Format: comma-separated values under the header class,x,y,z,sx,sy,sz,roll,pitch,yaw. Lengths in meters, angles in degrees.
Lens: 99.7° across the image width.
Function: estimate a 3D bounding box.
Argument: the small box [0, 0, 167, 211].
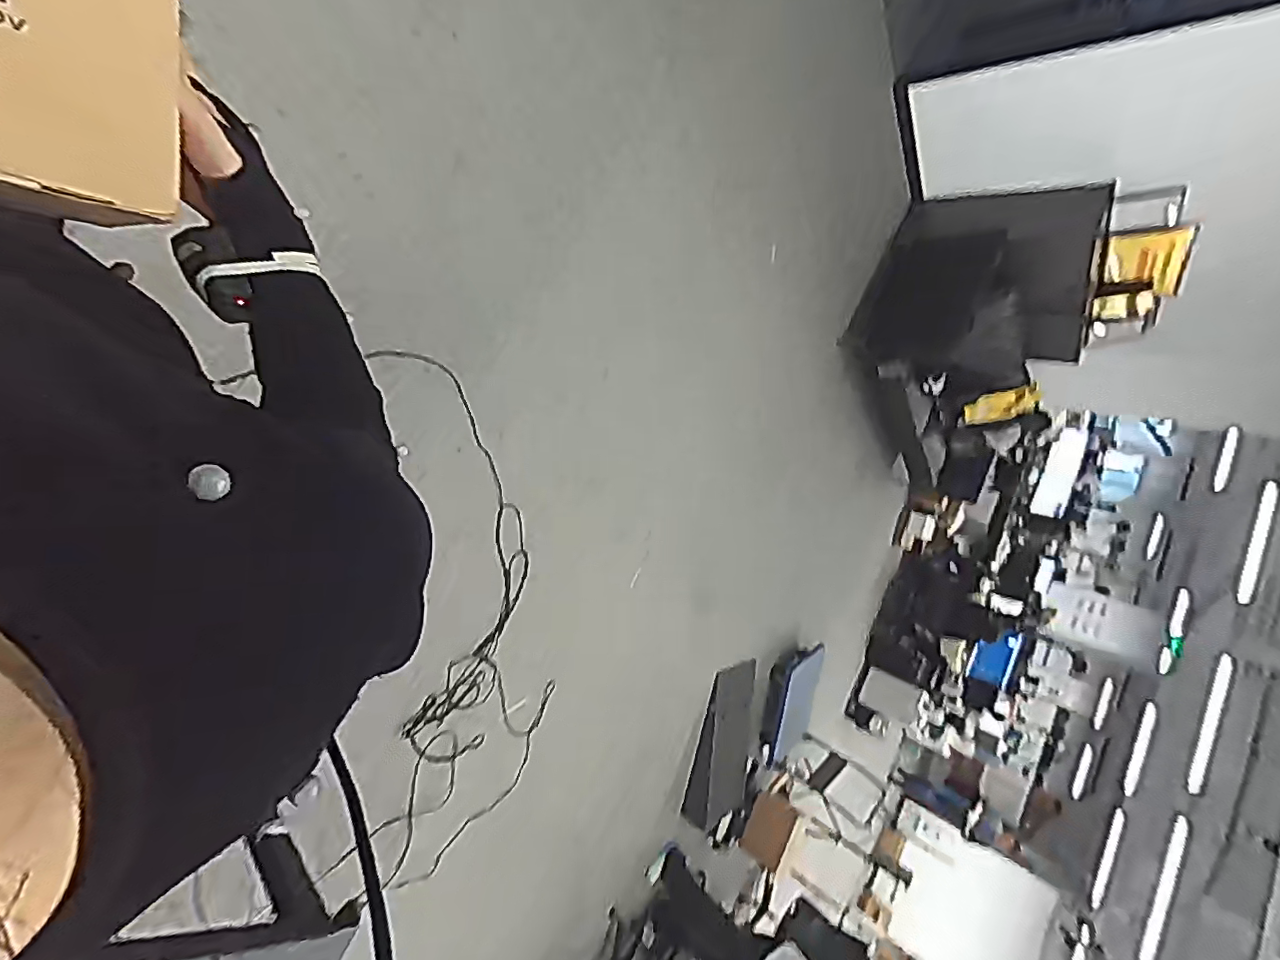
class,x,y,z,sx,sy,sz,roll,pitch,yaw
small box,-0.399,-0.269,0.303,0.168,0.176,0.179,-7,111,-56
